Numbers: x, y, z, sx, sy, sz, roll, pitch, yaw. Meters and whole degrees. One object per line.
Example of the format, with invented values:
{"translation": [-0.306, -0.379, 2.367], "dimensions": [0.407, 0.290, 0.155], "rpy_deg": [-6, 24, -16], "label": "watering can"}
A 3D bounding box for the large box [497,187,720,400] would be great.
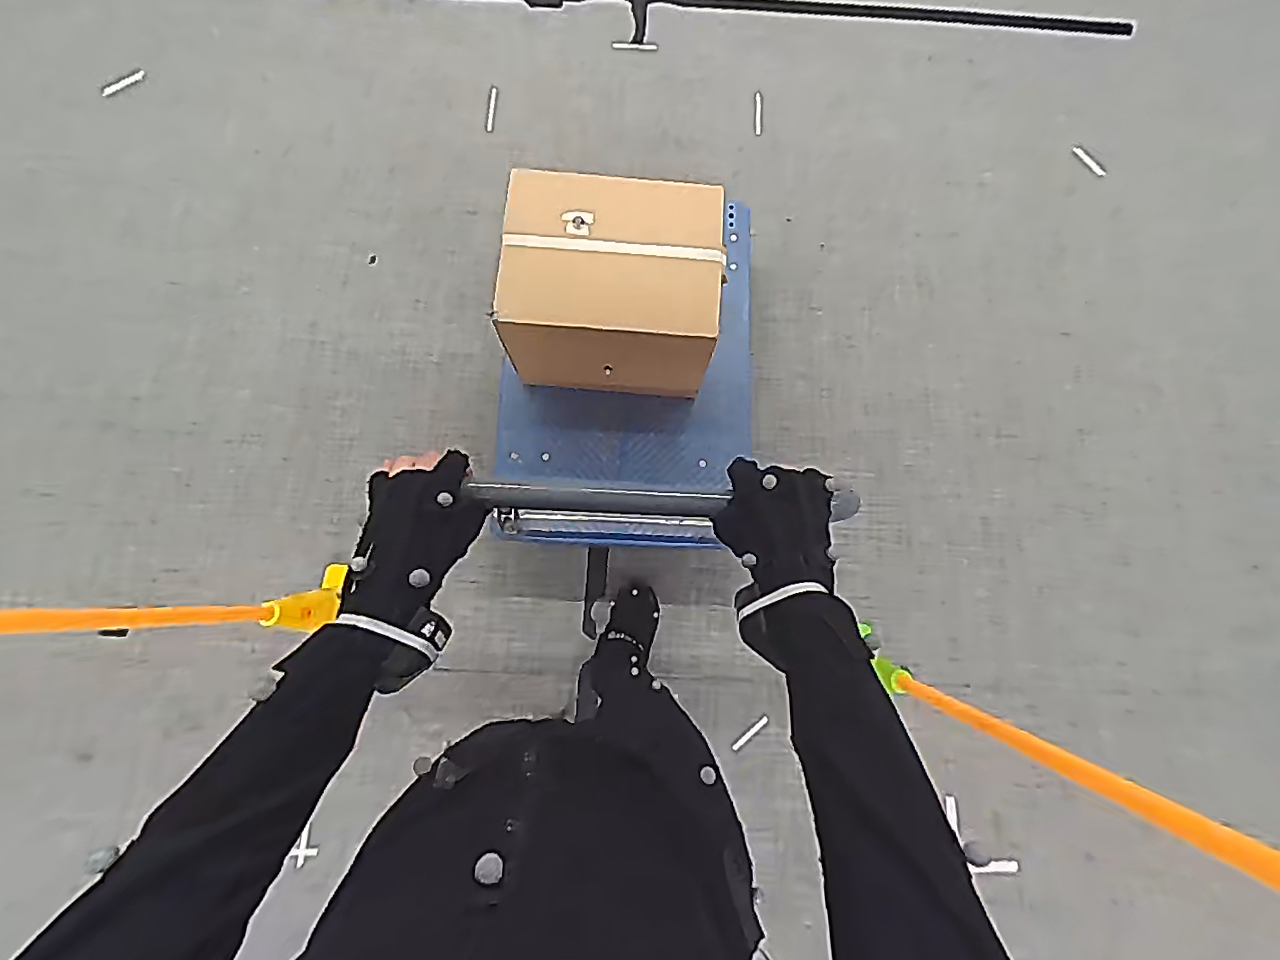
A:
{"translation": [-0.053, -0.371, 1.150], "dimensions": [0.408, 0.320, 0.320], "rpy_deg": [4, 78, 0], "label": "large box"}

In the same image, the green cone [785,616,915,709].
{"translation": [0.461, 0.404, 1.142], "dimensions": [0.202, 0.368, 0.200], "rpy_deg": [7, 78, -1], "label": "green cone"}
